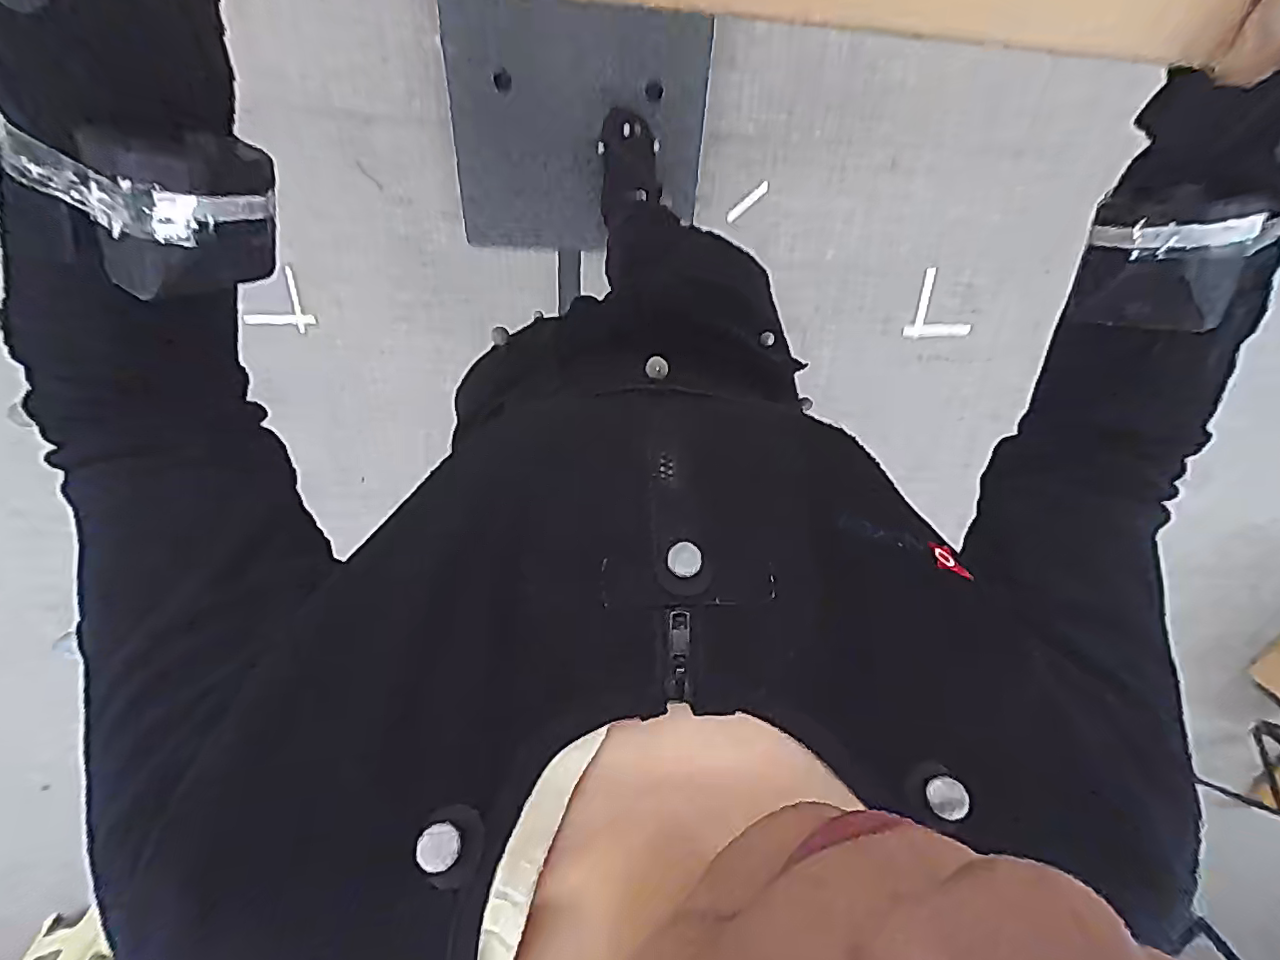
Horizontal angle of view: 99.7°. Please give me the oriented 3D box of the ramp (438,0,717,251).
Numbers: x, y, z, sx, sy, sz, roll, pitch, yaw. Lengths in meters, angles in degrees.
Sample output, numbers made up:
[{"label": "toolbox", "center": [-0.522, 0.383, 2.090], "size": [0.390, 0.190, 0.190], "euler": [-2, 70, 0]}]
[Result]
[{"label": "ramp", "center": [-0.100, -0.913, 0.900], "size": [0.509, 0.206, 0.991], "euler": [-2, 118, -6]}]
